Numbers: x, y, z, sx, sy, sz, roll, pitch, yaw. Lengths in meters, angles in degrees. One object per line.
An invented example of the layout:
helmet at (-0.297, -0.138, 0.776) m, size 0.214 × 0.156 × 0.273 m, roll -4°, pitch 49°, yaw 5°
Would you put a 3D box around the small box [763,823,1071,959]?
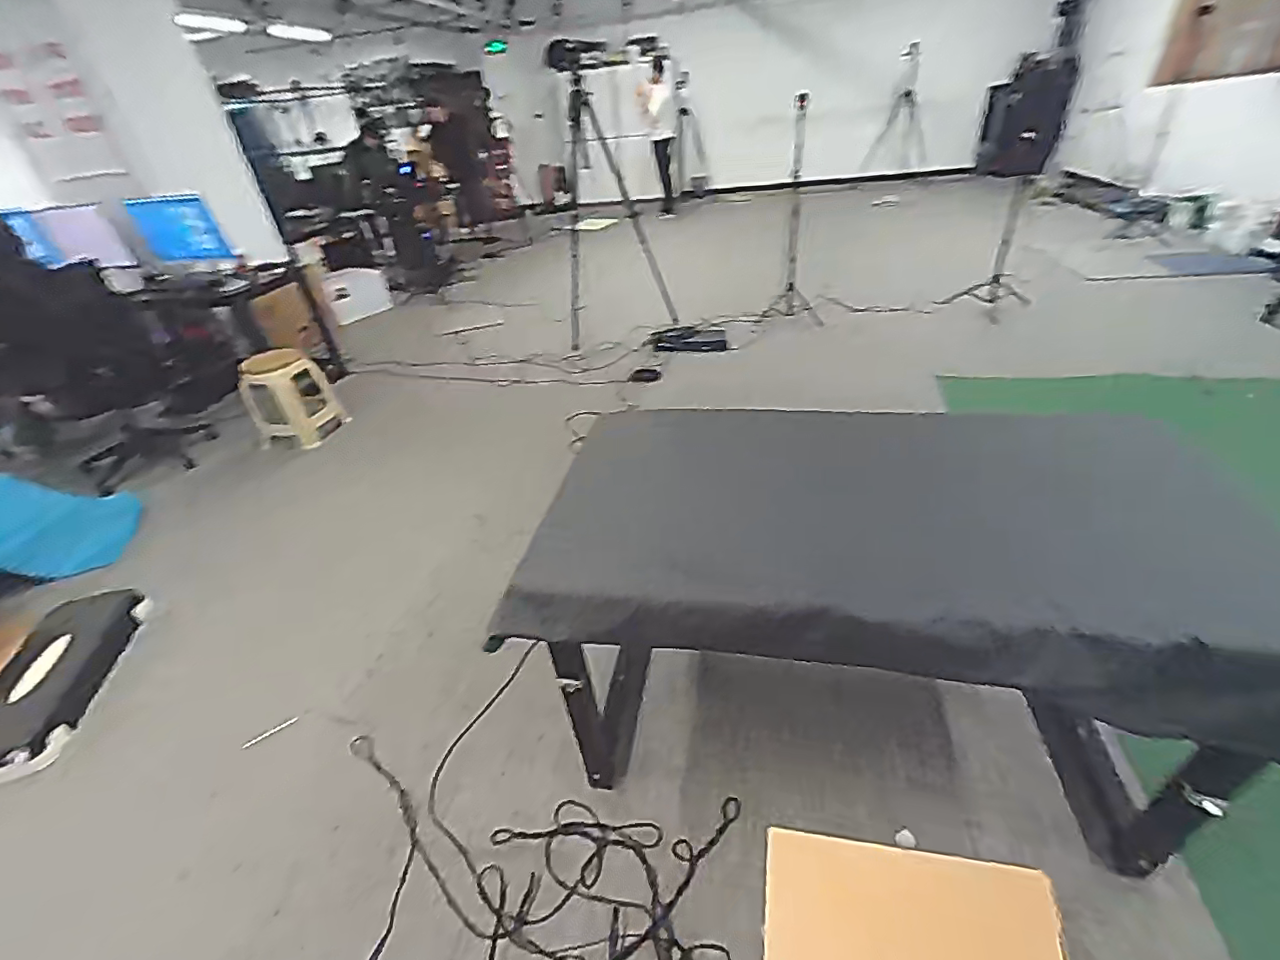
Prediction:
small box at (0.186, 0.362, 0.371) m, size 0.179 × 0.176 × 0.168 m, roll -4°, pitch 47°, yaw 22°
